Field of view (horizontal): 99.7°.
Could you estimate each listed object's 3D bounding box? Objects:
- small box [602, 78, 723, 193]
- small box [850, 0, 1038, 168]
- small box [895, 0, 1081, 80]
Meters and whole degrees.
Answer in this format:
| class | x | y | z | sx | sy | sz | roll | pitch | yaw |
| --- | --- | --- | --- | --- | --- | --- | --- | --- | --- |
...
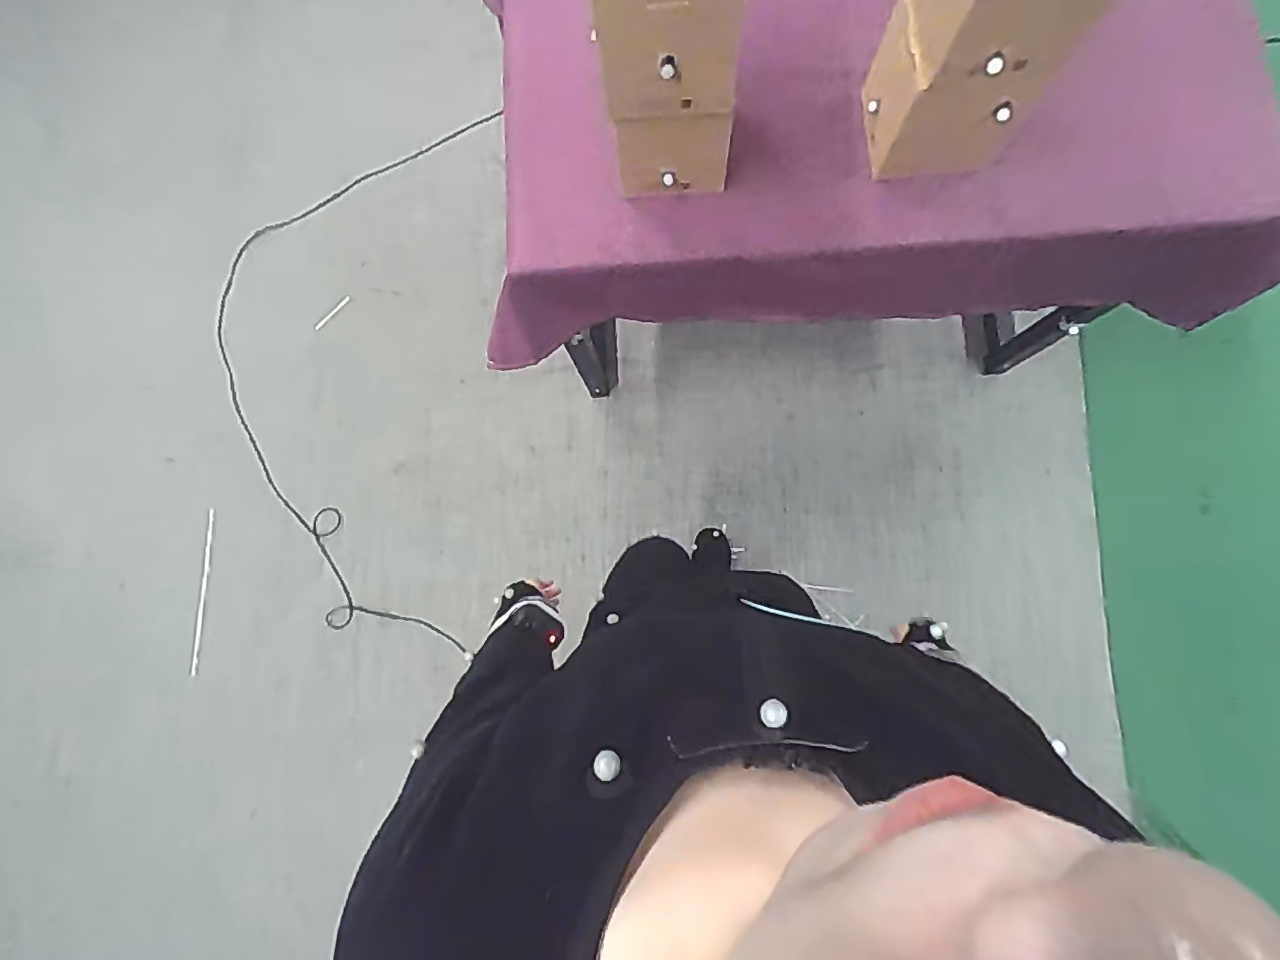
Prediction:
| class | x | y | z | sx | sy | sz | roll | pitch | yaw |
| --- | --- | --- | --- | --- | --- | --- | --- | --- | --- |
| small box | 0.033 | -0.572 | 0.819 | 0.168 | 0.176 | 0.179 | -3 | 81 | 4 |
| small box | 0.430 | -0.595 | 0.794 | 0.179 | 0.176 | 0.168 | -4 | 80 | 3 |
| small box | 0.417 | -0.623 | 0.634 | 0.168 | 0.176 | 0.179 | -5 | 81 | 4 |
